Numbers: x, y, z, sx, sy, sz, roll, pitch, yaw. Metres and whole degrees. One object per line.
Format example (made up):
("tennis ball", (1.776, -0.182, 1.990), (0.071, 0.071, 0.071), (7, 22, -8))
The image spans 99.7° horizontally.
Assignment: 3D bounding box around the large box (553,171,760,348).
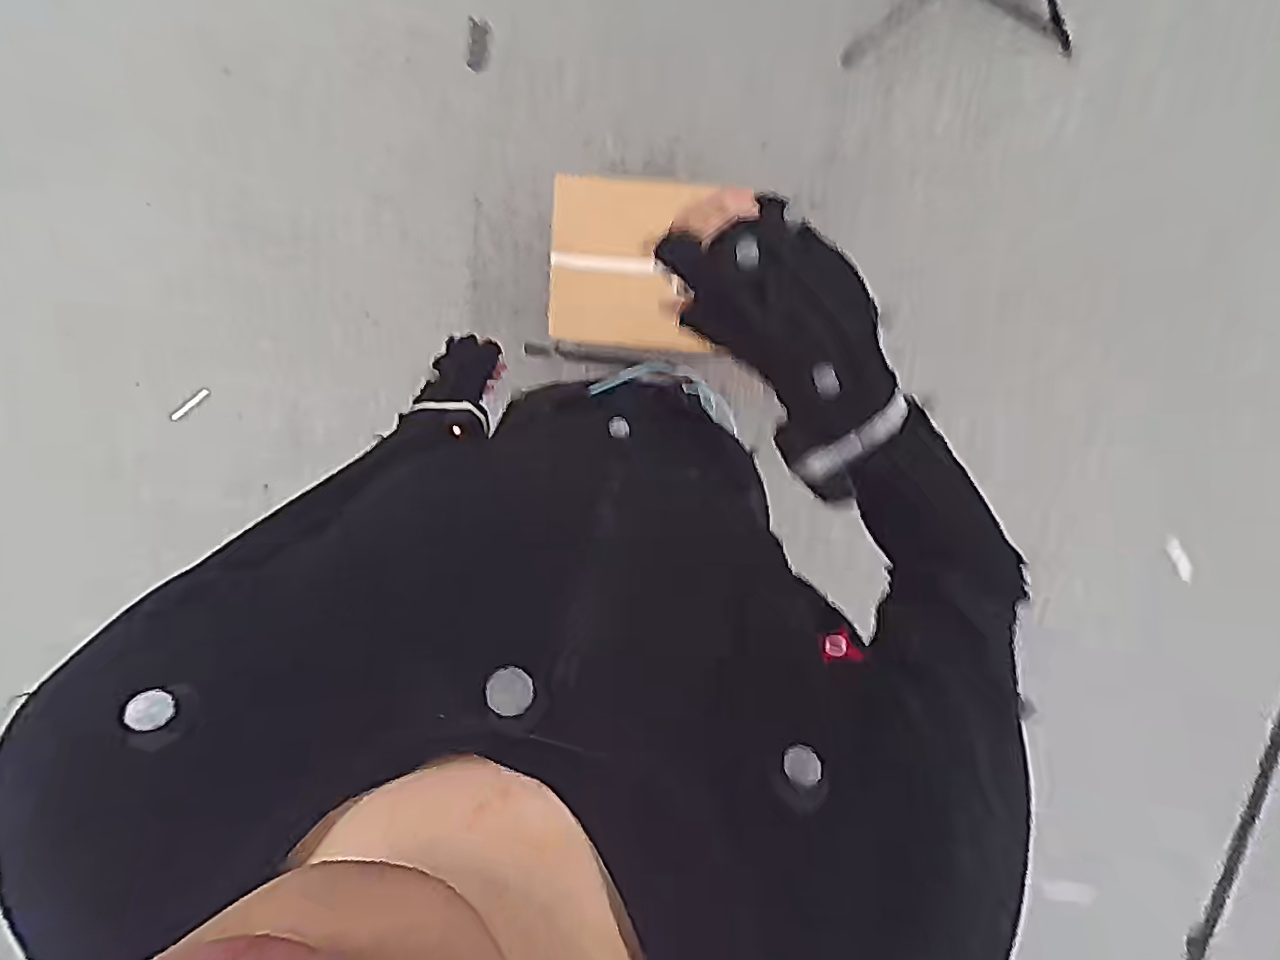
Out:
("large box", (0.029, -0.472, 1.227), (0.408, 0.320, 0.320), (5, 103, 1))
